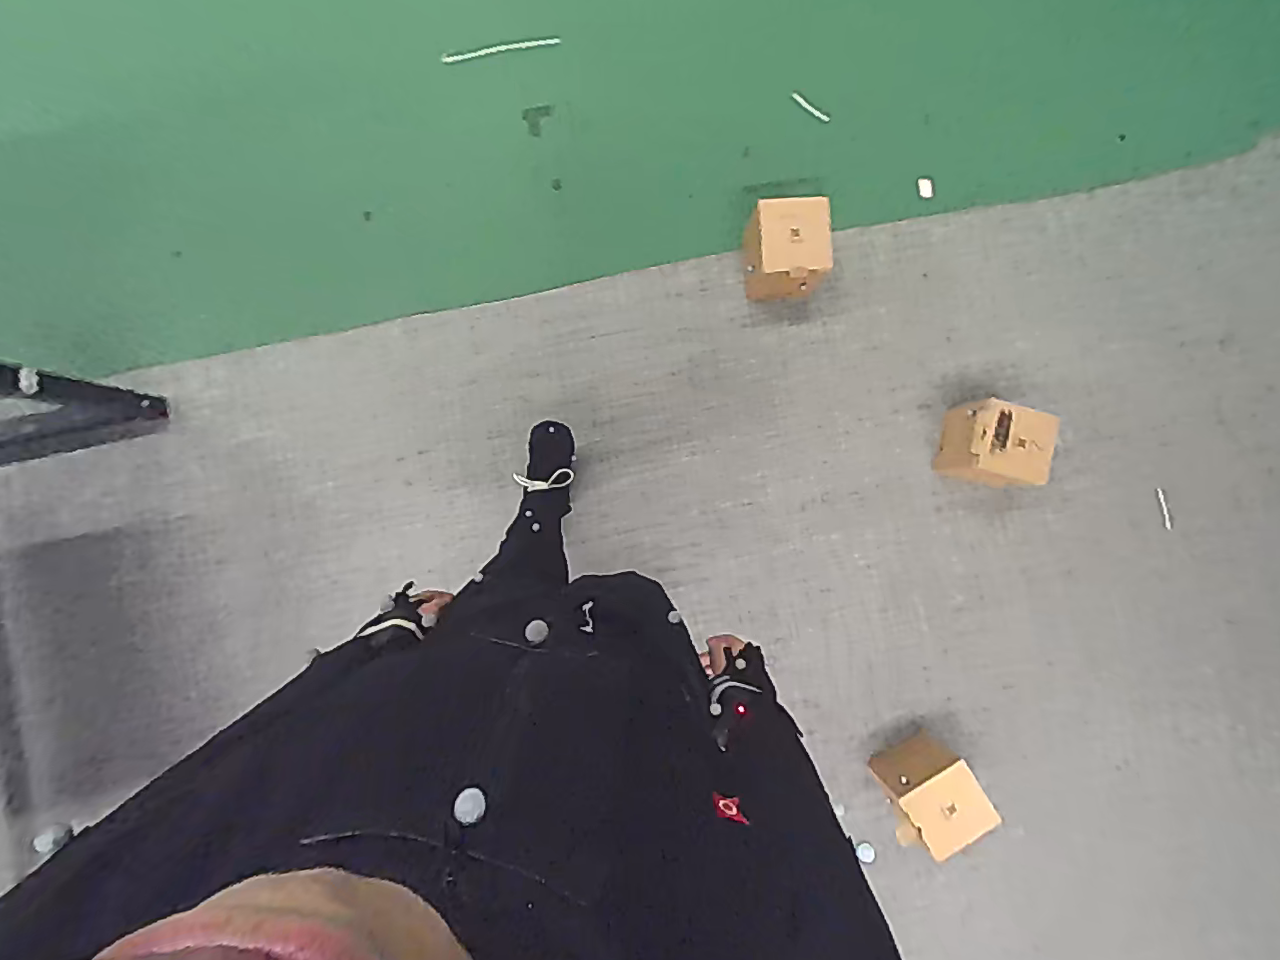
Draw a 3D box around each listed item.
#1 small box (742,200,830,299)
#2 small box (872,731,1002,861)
[{"bbox_3d":[0.353,-0.557,1.331,0.168,0.176,0.179,-4,87,-3],"label":"small box"},{"bbox_3d":[0.692,0.736,1.282,0.179,0.176,0.168,-32,89,-1],"label":"small box"}]
